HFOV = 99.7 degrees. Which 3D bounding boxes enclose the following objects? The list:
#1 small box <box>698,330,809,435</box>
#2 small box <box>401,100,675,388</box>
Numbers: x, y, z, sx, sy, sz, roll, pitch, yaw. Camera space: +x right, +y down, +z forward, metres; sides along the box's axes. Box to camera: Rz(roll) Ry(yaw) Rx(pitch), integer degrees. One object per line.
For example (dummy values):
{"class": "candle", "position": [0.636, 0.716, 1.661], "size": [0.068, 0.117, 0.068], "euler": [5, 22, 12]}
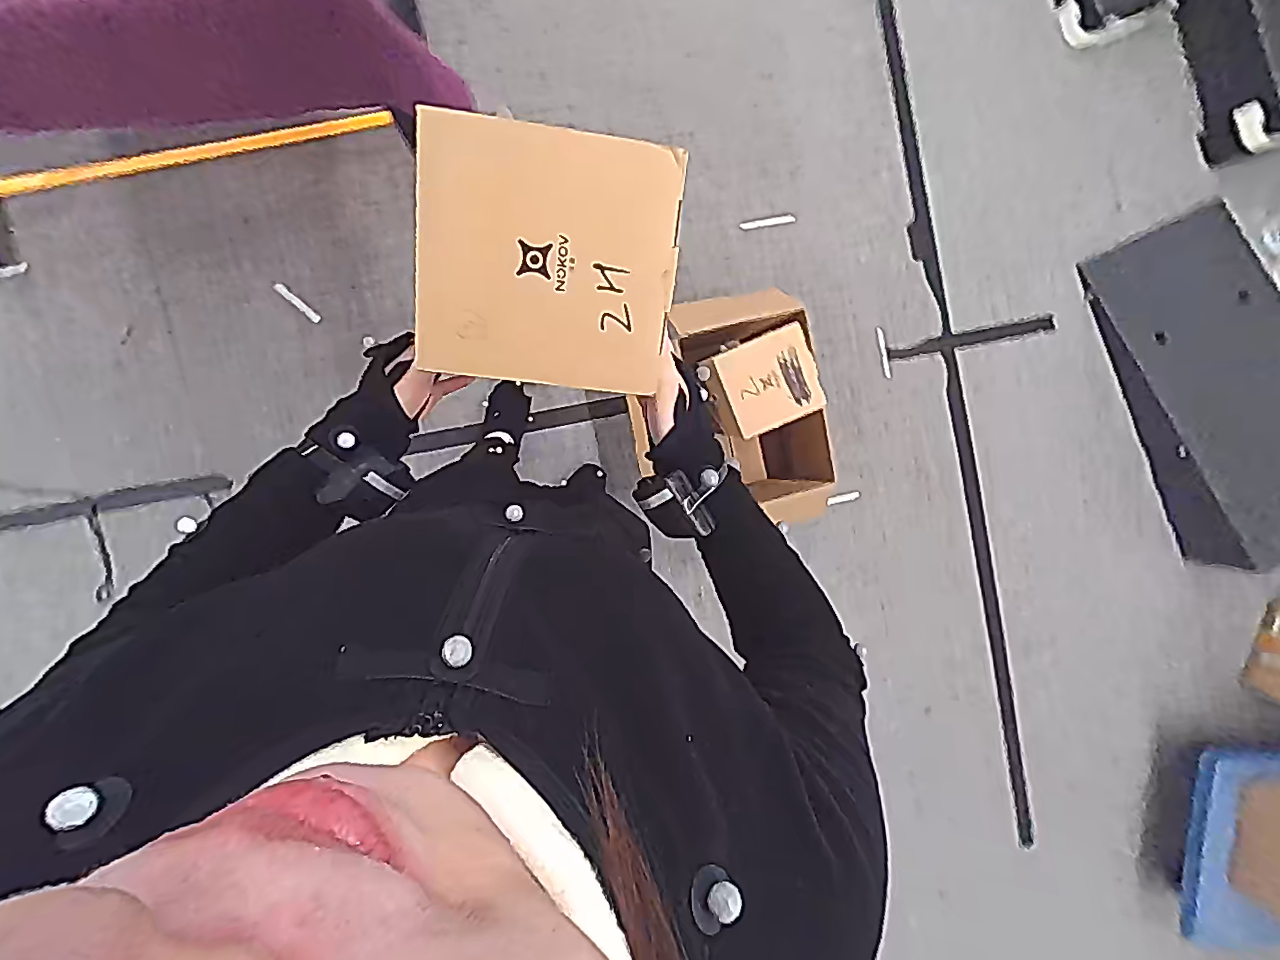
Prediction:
{"class": "small box", "position": [0.252, -0.221, 1.251], "size": [0.168, 0.176, 0.179], "euler": [-32, 100, 2]}
{"class": "small box", "position": [-0.078, -0.175, 0.443], "size": [0.179, 0.176, 0.168], "euler": [4, 107, -7]}
